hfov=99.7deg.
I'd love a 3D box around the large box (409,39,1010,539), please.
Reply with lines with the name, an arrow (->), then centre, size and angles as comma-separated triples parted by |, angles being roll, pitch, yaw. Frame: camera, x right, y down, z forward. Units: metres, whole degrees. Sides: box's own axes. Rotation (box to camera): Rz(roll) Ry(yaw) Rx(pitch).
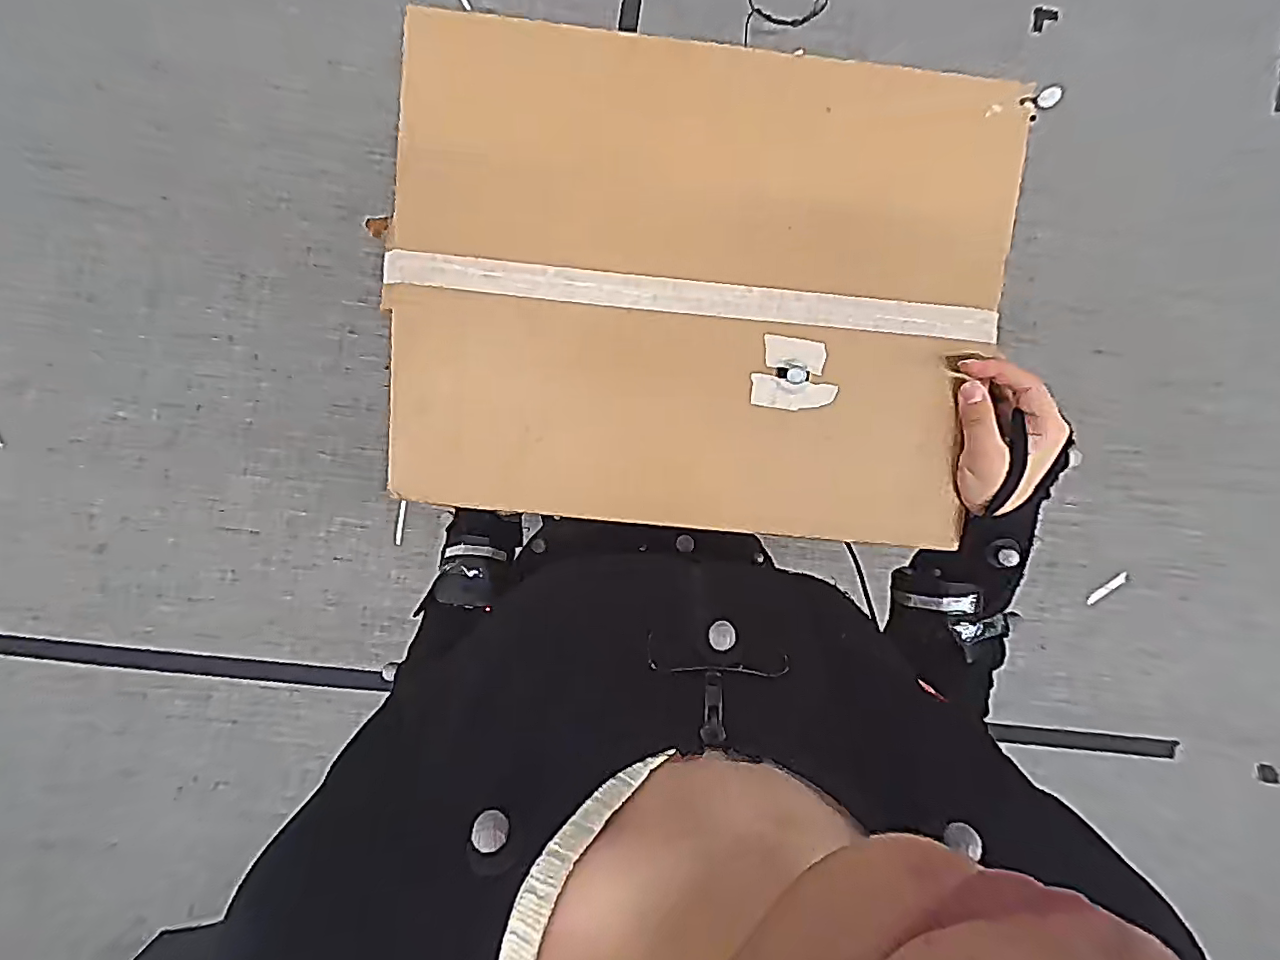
large box -> 0.037, -0.136, 0.520 | 0.408, 0.320, 0.320 | 5, 97, -3
